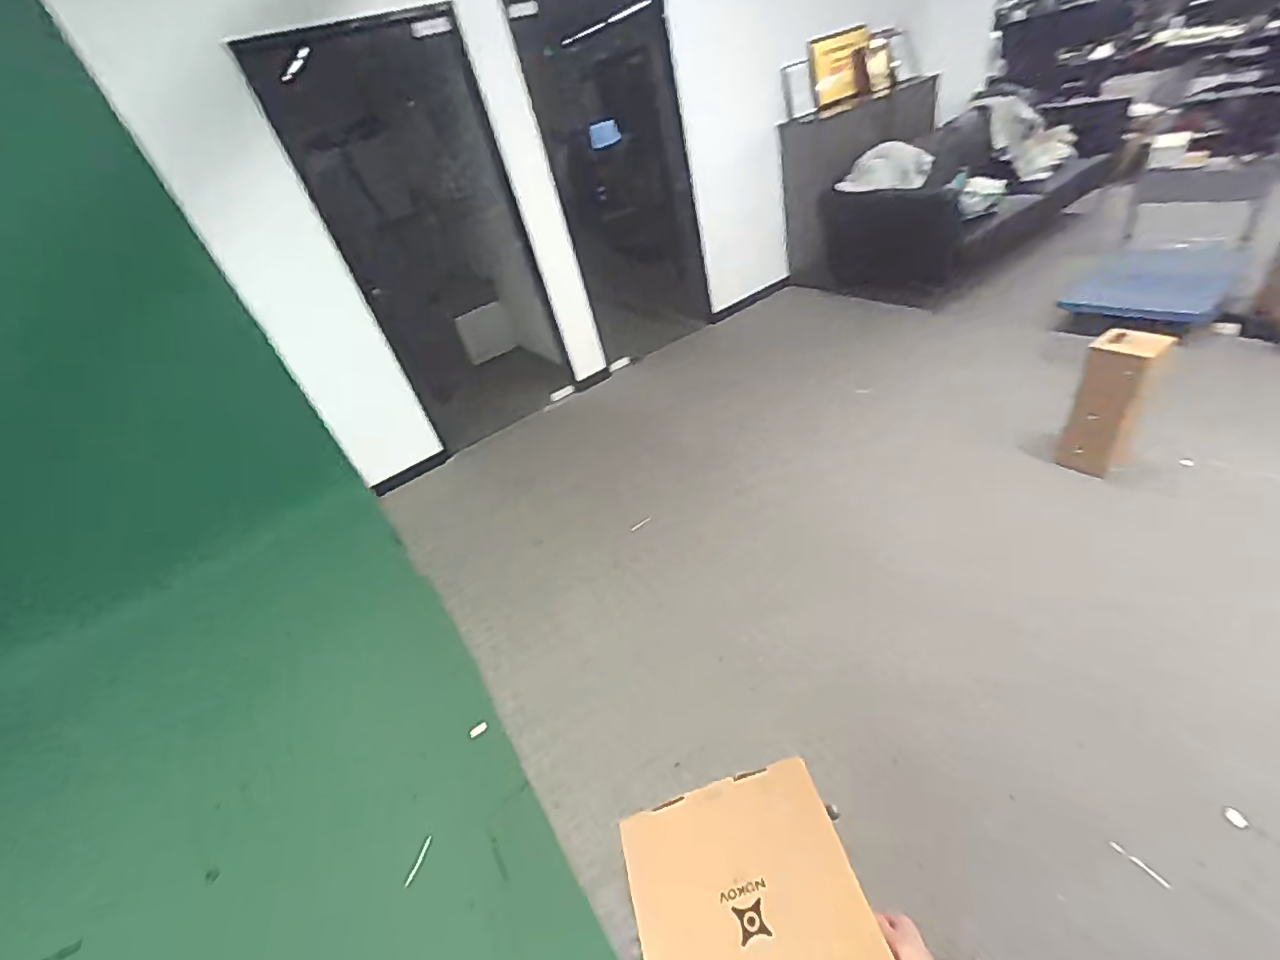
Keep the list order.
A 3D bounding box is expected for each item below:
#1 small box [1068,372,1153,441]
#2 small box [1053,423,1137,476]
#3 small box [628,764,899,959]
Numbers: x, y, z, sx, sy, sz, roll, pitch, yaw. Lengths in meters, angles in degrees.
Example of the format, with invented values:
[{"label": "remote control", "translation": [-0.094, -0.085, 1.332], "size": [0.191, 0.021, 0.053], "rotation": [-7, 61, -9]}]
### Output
[{"label": "small box", "translation": [1.686, -0.263, 1.948], "size": [0.179, 0.176, 0.168], "rotation": [-30, 38, -19]}, {"label": "small box", "translation": [1.718, -0.136, 2.047], "size": [0.168, 0.176, 0.179], "rotation": [-30, 37, -19]}, {"label": "small box", "translation": [0.104, 0.371, 0.437], "size": [0.168, 0.176, 0.179], "rotation": [-19, 41, -1]}]
